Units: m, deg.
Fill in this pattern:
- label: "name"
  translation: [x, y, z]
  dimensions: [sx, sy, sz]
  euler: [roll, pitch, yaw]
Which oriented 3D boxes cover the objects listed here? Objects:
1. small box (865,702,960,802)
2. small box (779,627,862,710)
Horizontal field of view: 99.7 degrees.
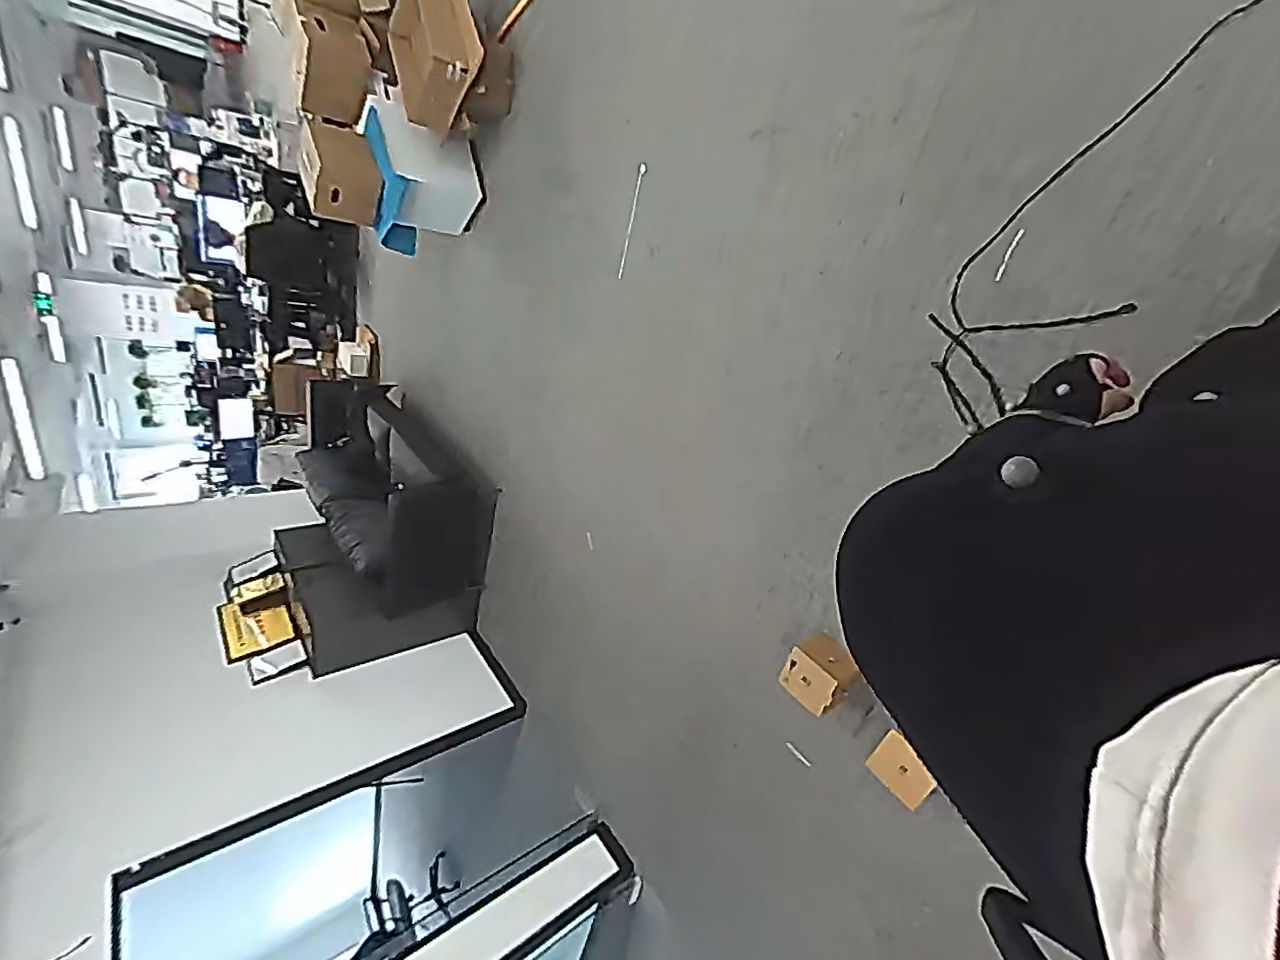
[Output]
- label: "small box"
  translation: [0.815, 0.798, 1.606]
  dimensions: [0.168, 0.176, 0.179]
  euler: [42, 127, 37]
- label: "small box"
  translation: [0.608, 0.624, 1.815]
  dimensions: [0.179, 0.176, 0.168]
  euler: [38, 123, 39]
